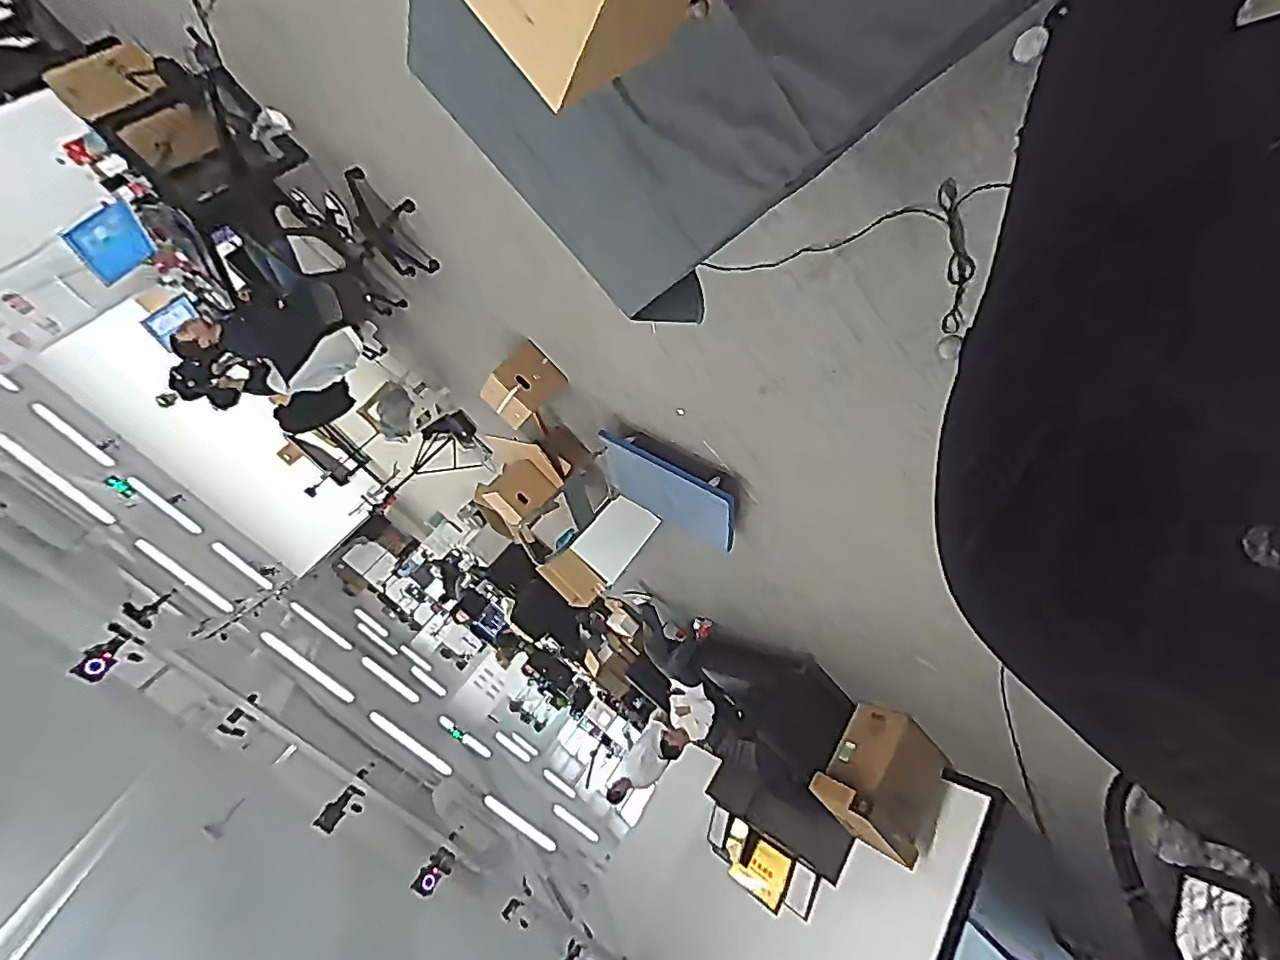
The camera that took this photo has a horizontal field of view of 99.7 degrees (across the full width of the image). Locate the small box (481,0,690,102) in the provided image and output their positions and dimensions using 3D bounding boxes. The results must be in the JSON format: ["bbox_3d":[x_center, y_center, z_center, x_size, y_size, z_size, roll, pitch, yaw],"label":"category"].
[{"bbox_3d":[-0.033,-0.459,0.420,0.168,0.176,0.179,47,155,-13],"label":"small box"}]
